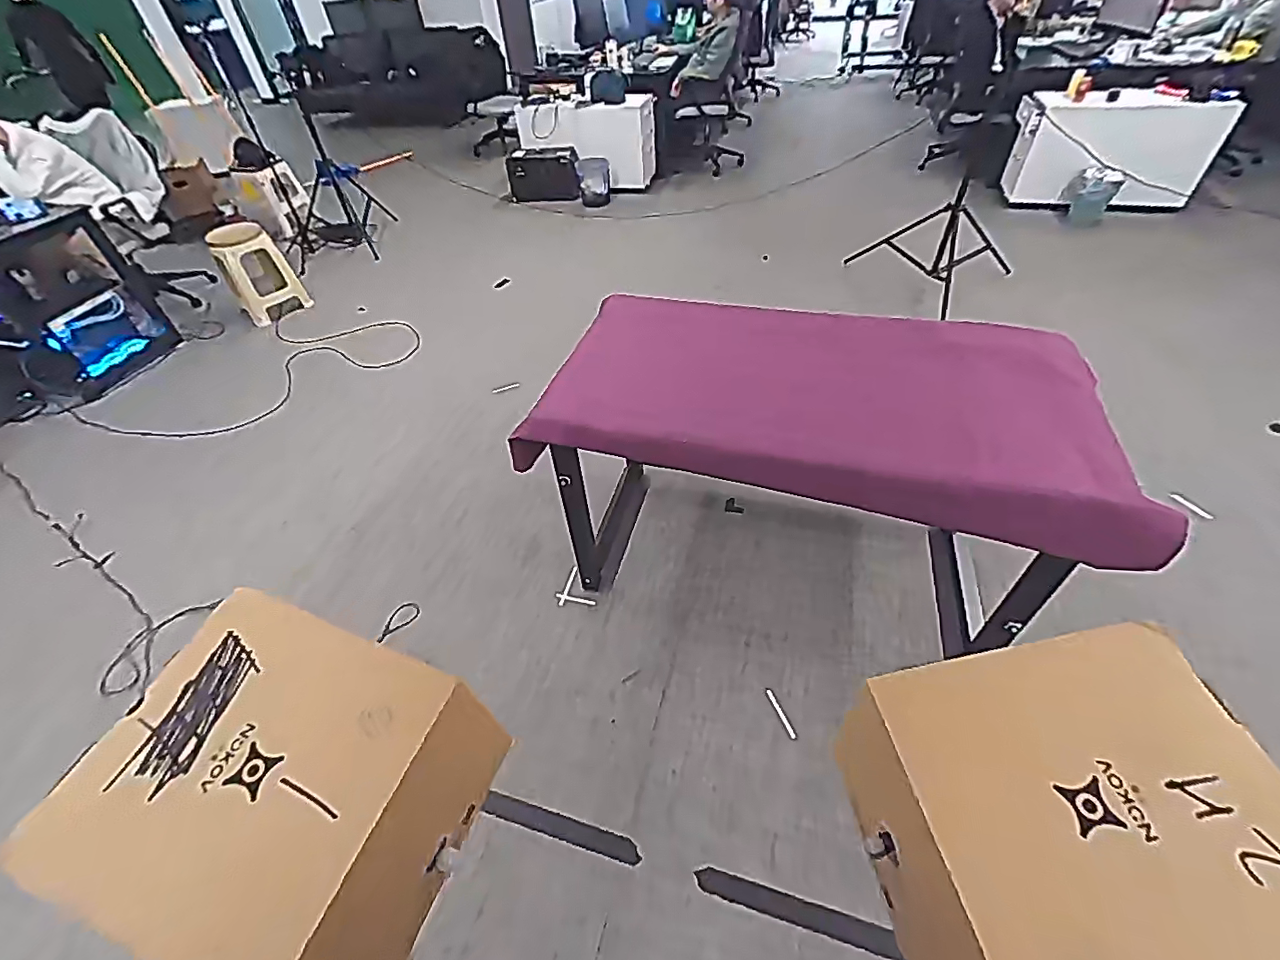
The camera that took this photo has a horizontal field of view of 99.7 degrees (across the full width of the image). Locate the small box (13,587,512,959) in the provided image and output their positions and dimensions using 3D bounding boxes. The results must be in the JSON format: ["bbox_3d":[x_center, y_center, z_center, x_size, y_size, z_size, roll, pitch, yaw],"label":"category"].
[{"bbox_3d":[-0.211,0.203,0.364,0.179,0.176,0.168,17,55,12],"label":"small box"}]

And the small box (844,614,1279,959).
[{"bbox_3d":[0.242,0.208,0.335,0.179,0.176,0.168,-12,52,0],"label":"small box"}]
